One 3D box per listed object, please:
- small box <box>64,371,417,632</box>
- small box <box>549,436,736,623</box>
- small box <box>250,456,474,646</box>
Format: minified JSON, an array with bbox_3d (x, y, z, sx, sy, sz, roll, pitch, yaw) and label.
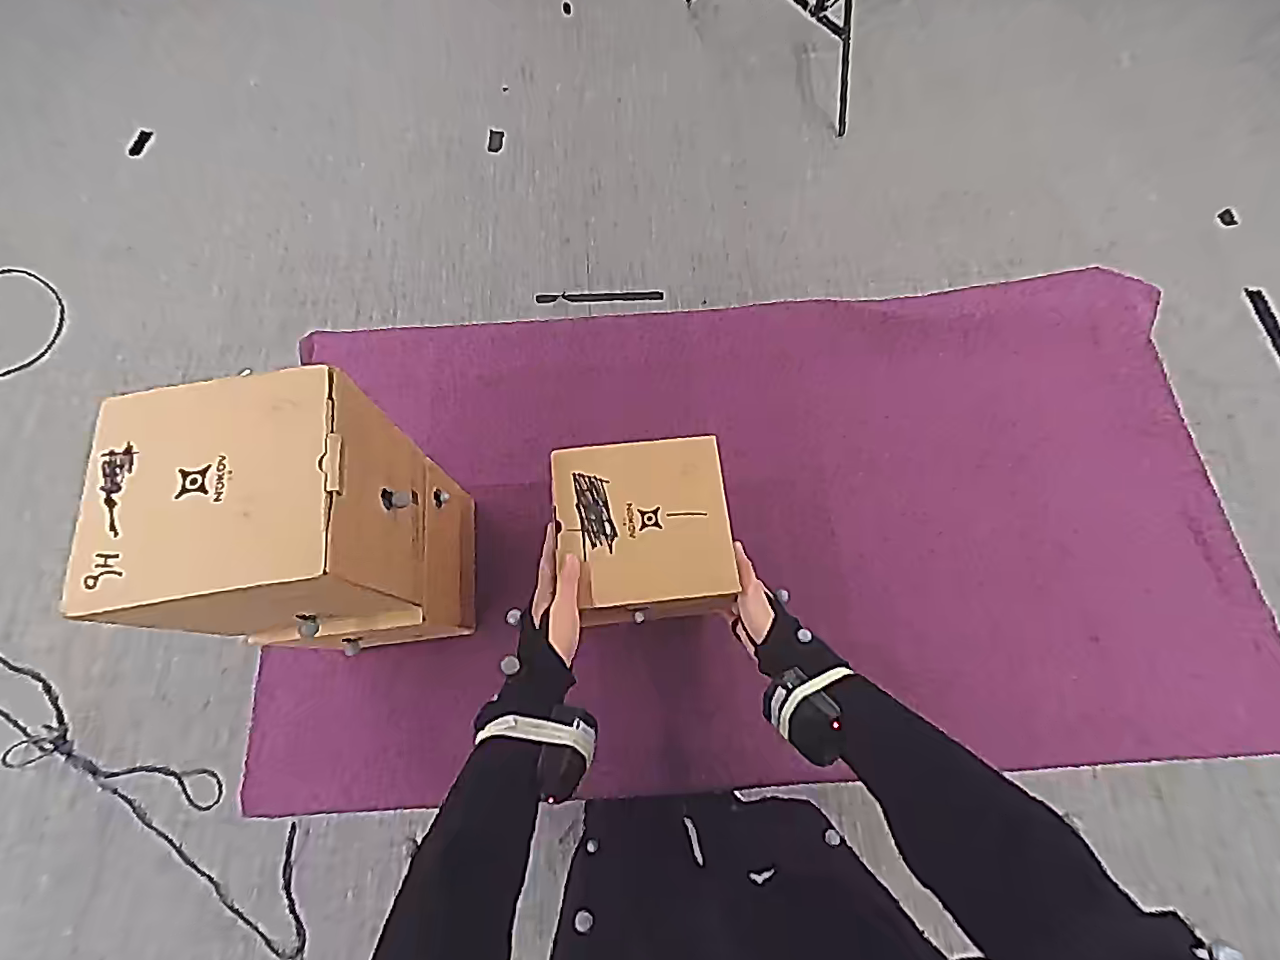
[{"bbox_3d":[-0.303,0.030,0.459,0.179,0.176,0.168,-9,70,-3],"label":"small box"},{"bbox_3d":[0.000,0.065,0.613,0.179,0.176,0.168,-5,71,-2],"label":"small box"},{"bbox_3d":[-0.294,0.090,0.611,0.168,0.176,0.179,-7,70,-1],"label":"small box"}]
